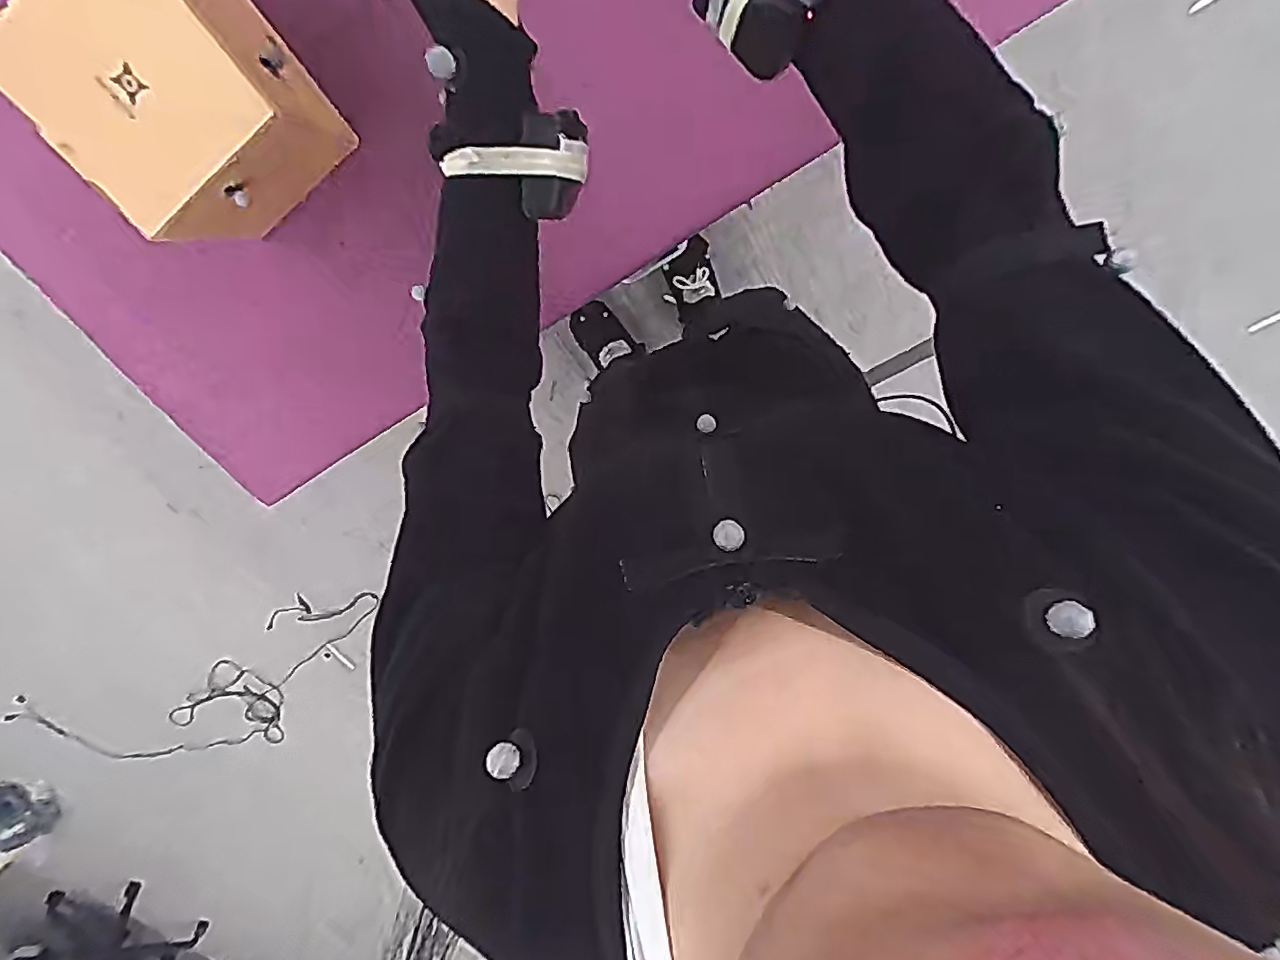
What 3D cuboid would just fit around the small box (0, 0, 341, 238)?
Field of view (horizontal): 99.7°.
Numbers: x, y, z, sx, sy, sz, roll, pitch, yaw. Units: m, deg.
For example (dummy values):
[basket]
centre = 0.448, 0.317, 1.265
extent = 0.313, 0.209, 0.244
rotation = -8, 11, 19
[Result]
[small box]
centre = -0.425, -0.359, 0.517
extent = 0.179, 0.176, 0.168
rotation = -32, 112, 14
